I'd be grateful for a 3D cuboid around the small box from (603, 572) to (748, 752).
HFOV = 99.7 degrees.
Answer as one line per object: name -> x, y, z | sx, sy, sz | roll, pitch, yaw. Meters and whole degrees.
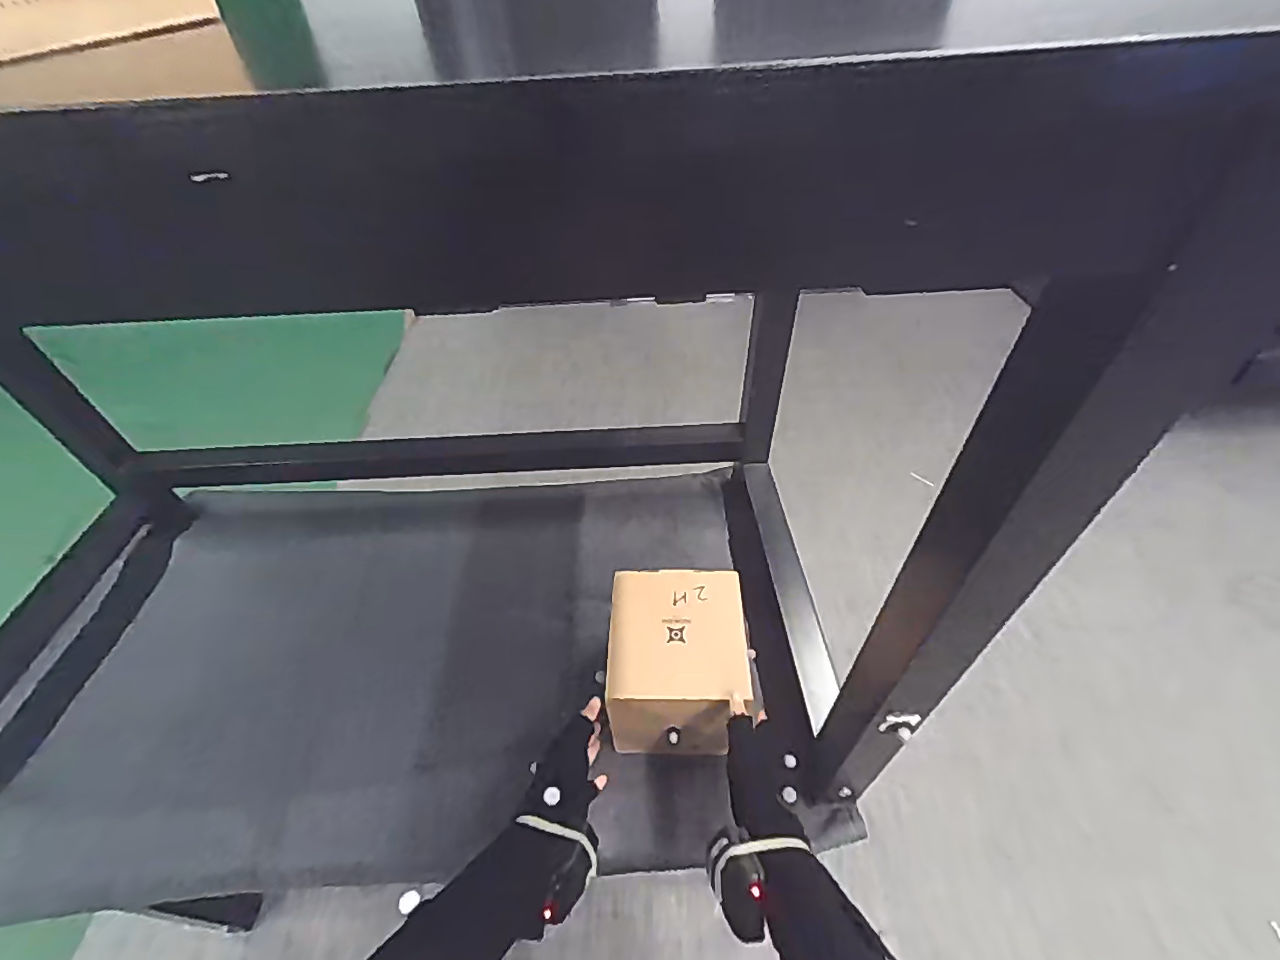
small box -> 0.047, 0.241, 0.713 | 0.168, 0.176, 0.179 | 0, 44, 3
